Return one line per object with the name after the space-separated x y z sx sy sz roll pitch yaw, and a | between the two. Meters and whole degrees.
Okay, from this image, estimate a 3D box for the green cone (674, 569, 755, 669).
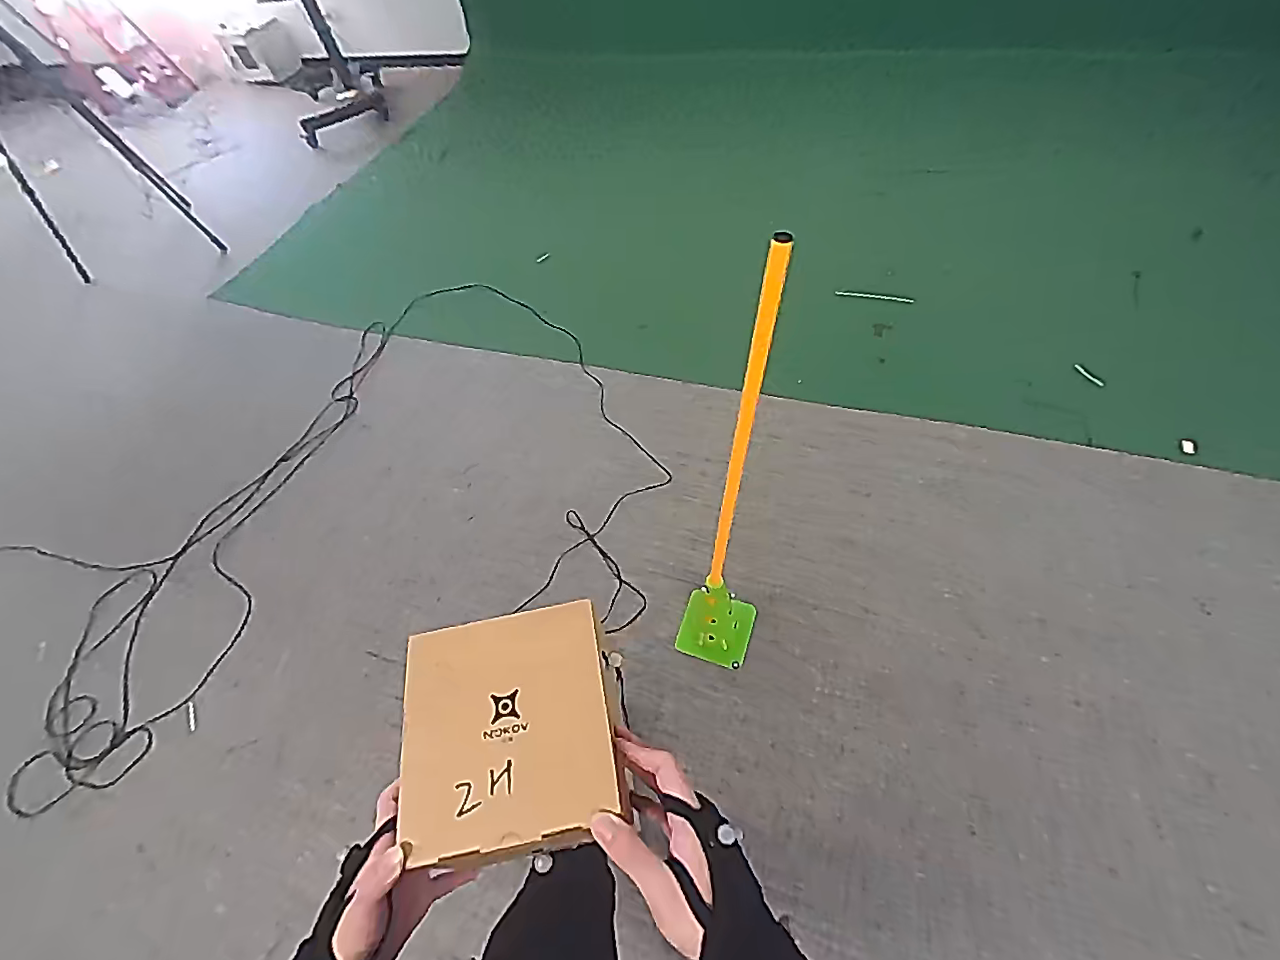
0.195 0.329 1.428 0.202 0.368 0.200 13 58 18 | green cone
